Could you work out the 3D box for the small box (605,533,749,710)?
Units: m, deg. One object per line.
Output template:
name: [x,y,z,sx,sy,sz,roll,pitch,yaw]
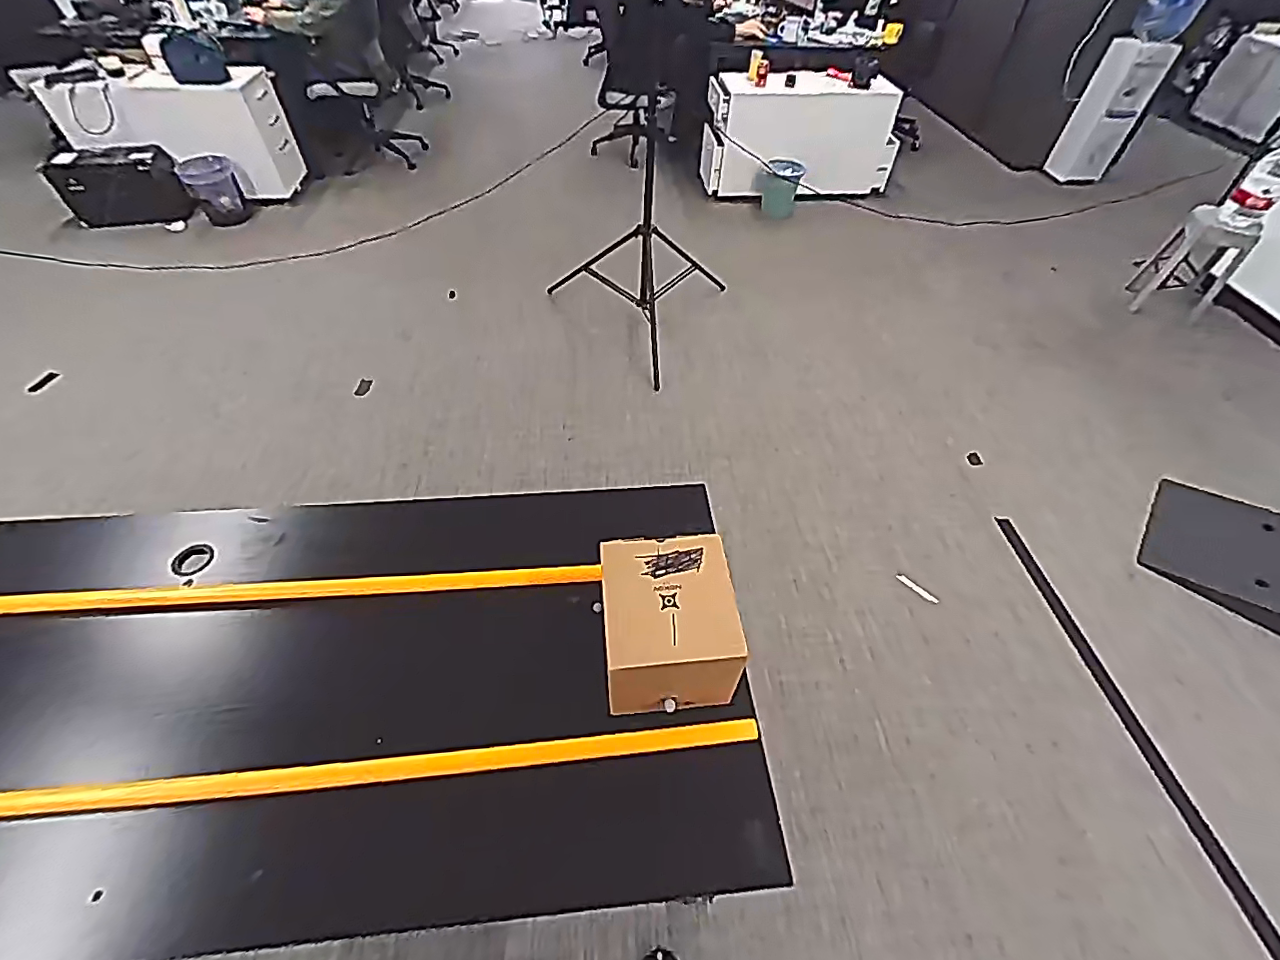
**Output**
small box: [0.038,0.194,0.742,0.168,0.176,0.179,-4,50,-4]
